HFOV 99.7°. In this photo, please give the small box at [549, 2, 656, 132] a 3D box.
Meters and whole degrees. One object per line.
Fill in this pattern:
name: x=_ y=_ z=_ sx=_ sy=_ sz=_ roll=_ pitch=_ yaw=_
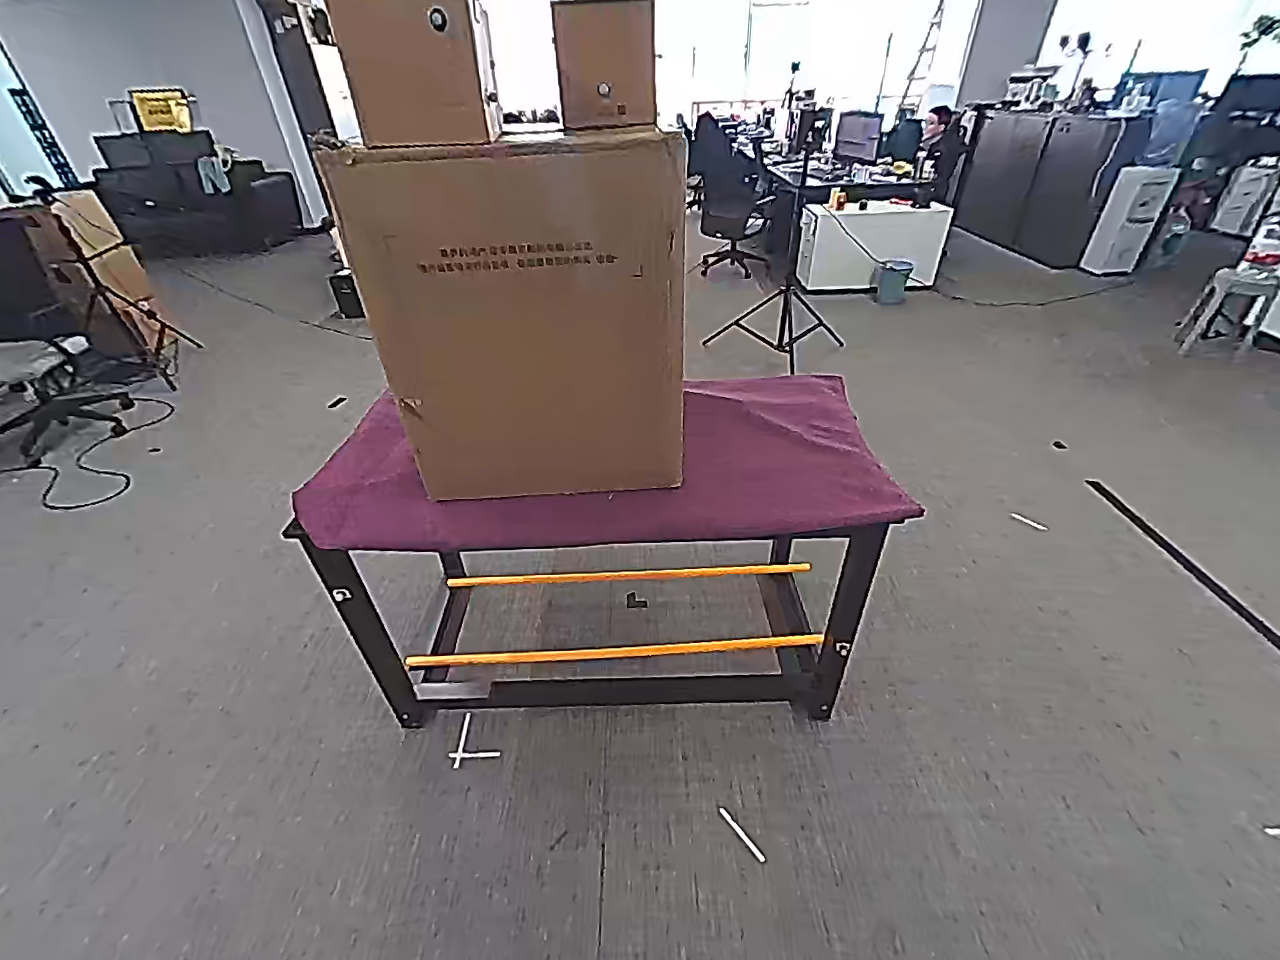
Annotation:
small box: x=-0.058 y=-0.716 z=0.950 sx=0.168 sy=0.176 sz=0.179 roll=-3 pitch=36 yaw=1
